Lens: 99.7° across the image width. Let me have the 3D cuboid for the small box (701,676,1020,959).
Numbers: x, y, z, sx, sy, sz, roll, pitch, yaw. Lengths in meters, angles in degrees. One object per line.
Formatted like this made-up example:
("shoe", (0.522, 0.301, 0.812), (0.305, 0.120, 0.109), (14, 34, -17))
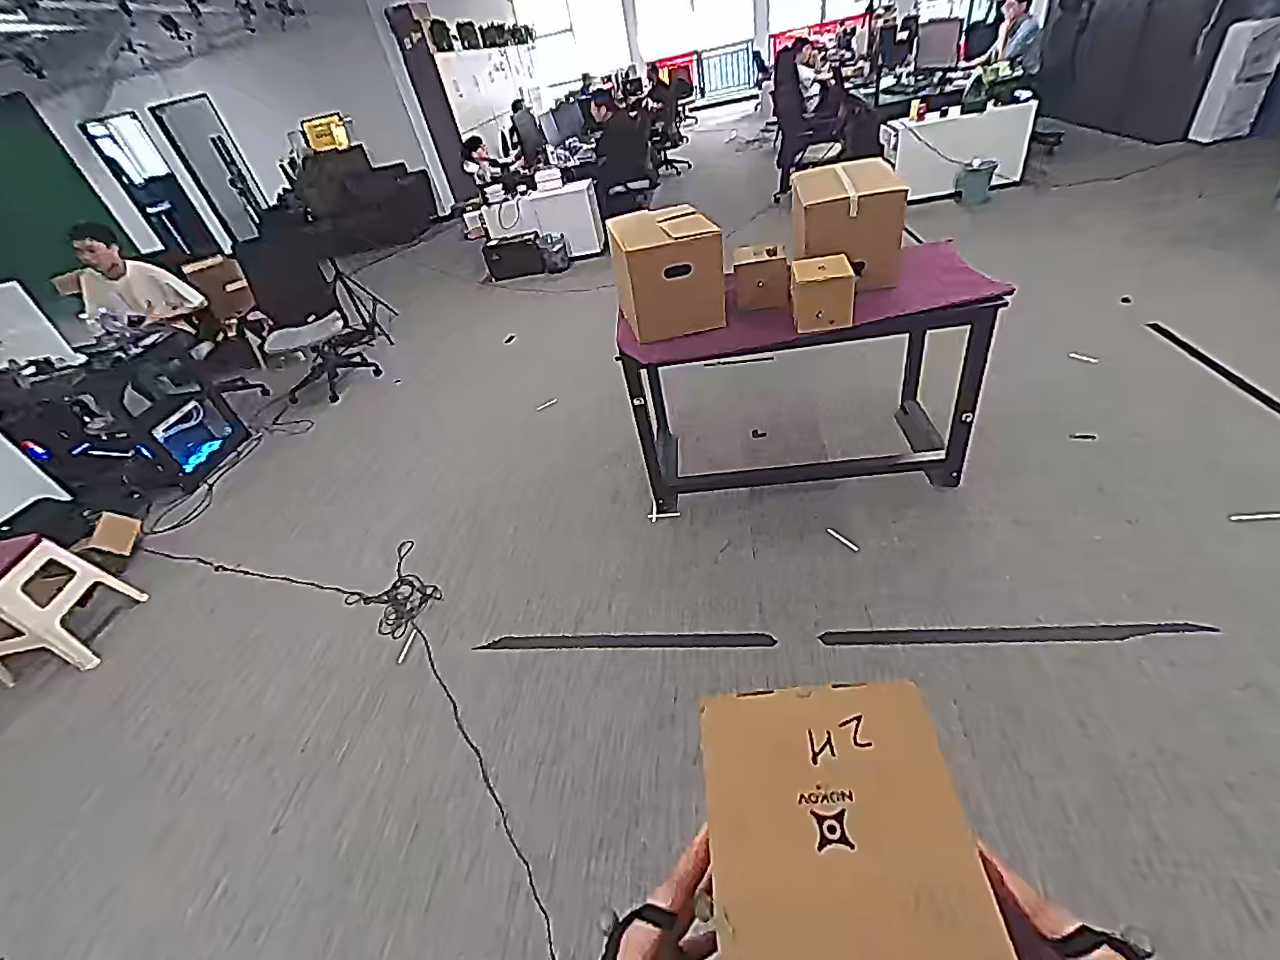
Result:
("small box", (0.142, 0.274, 0.410), (0.168, 0.176, 0.179), (-8, 43, 7))
